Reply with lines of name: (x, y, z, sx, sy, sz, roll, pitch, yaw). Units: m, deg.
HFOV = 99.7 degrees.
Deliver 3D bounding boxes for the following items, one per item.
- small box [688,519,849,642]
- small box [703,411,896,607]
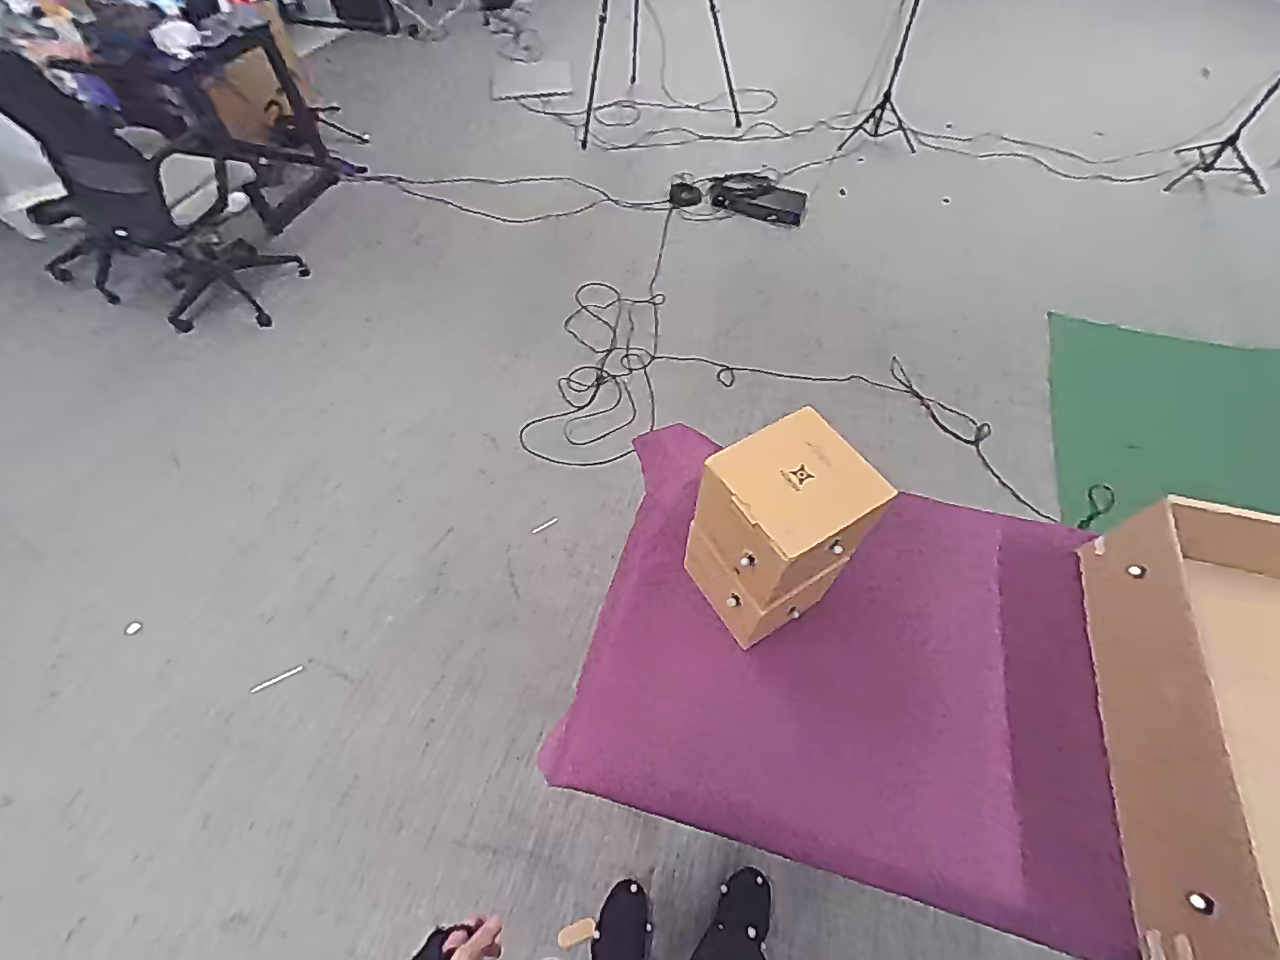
small box: (0.193, 0.138, 0.867, 0.168, 0.176, 0.179, -27, 60, -17)
small box: (0.198, 0.045, 0.733, 0.179, 0.176, 0.168, -27, 61, -17)
